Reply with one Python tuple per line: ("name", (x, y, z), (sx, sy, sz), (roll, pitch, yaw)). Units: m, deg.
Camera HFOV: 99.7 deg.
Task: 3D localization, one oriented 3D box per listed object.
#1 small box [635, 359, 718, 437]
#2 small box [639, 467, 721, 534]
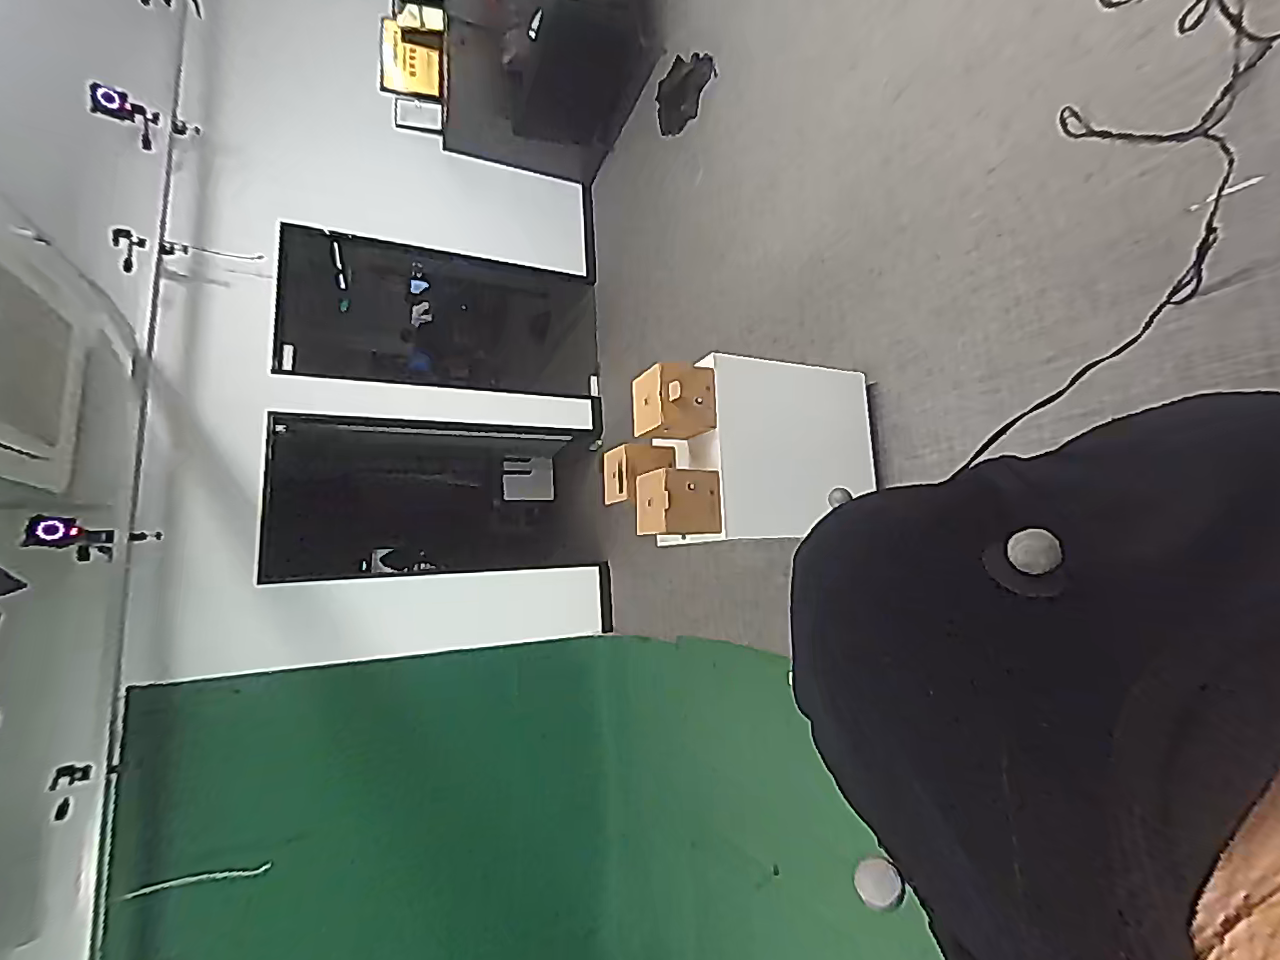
("small box", (0.097, -0.216, 1.478), (0.179, 0.176, 0.168), (162, 108, -65))
("small box", (0.107, 0.058, 1.443), (0.179, 0.176, 0.168), (161, 110, -66))
